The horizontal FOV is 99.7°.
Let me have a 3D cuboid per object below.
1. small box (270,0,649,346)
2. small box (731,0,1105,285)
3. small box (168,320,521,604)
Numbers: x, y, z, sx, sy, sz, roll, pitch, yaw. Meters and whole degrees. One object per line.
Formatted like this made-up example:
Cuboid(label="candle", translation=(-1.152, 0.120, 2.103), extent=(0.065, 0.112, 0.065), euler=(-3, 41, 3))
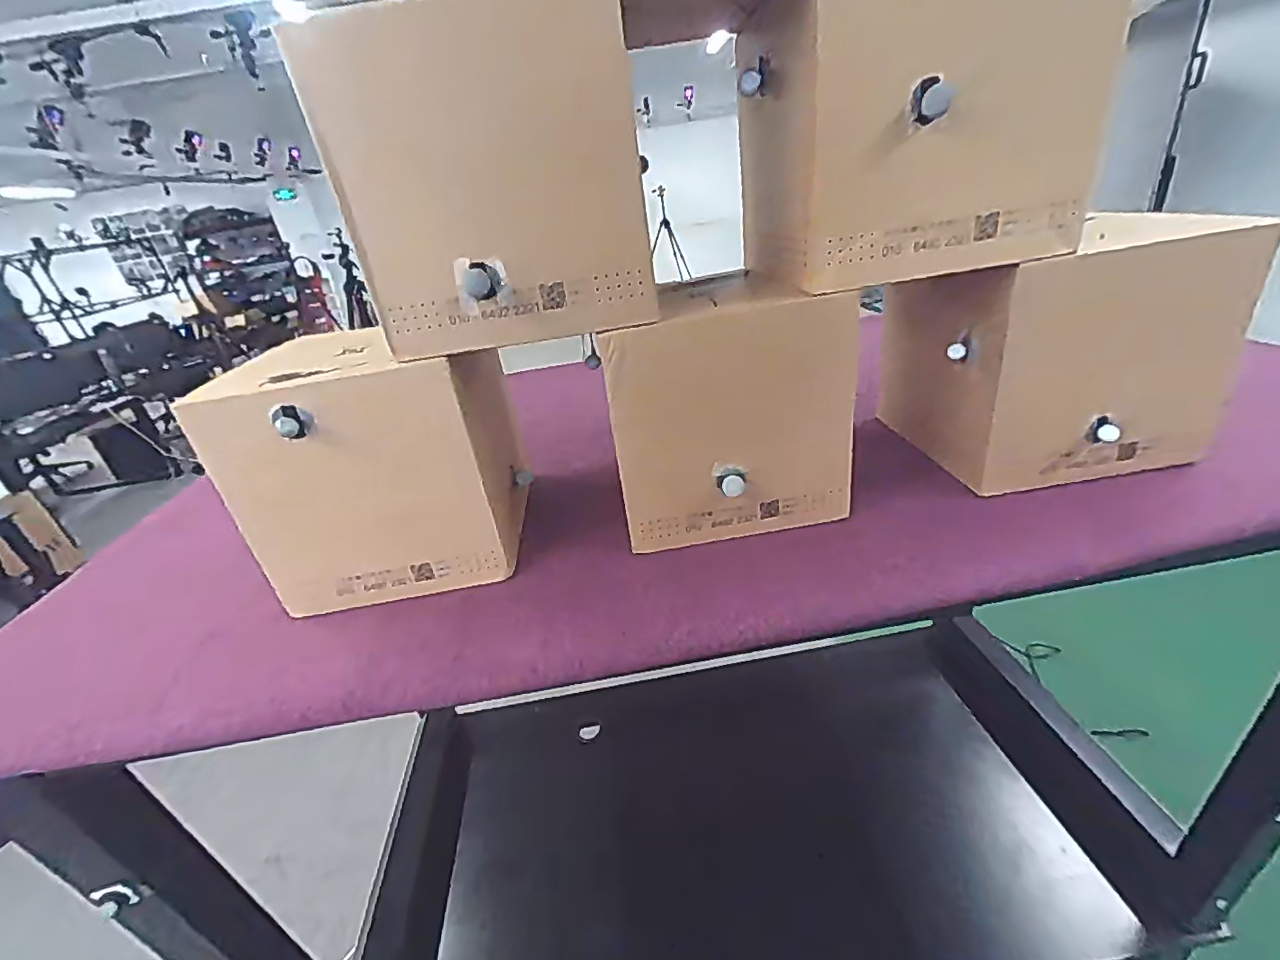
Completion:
Cuboid(label="small box", translation=(-0.089, -0.197, 0.362), extent=(0.168, 0.176, 0.179), euler=(-9, 28, 1))
Cuboid(label="small box", translation=(0.165, -0.235, 0.364), extent=(0.168, 0.176, 0.179), euler=(-9, 27, 0))
Cuboid(label="small box", translation=(-0.197, -0.029, 0.429), extent=(0.168, 0.176, 0.179), euler=(-10, 27, -2))
